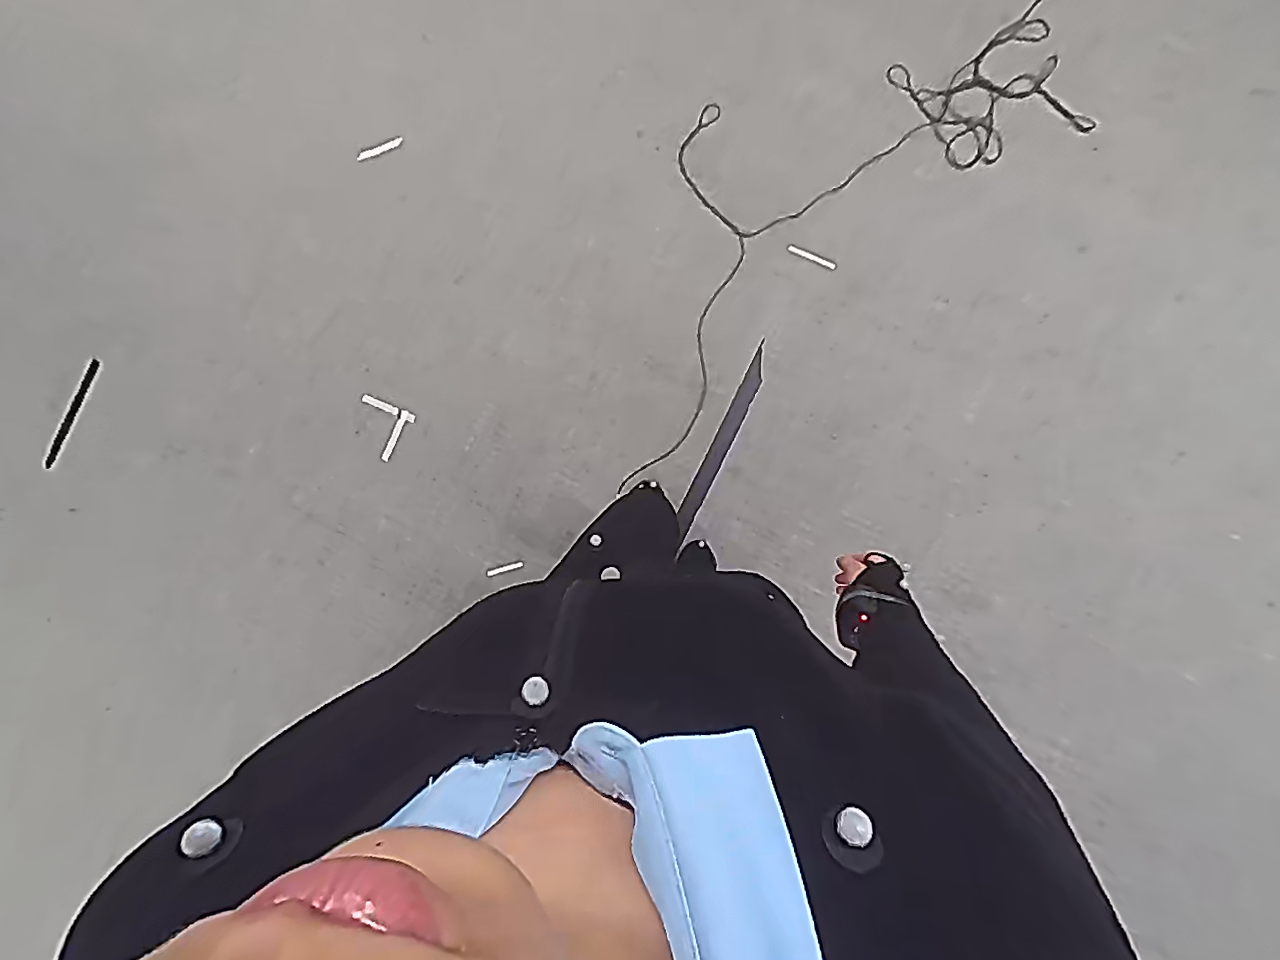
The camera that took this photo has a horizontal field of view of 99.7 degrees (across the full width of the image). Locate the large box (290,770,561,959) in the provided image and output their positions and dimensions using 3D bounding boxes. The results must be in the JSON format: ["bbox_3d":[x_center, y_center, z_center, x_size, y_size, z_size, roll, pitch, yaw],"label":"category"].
[{"bbox_3d":[-0.440,0.921,1.169,0.408,0.320,0.320,27,89,5],"label":"large box"}]
